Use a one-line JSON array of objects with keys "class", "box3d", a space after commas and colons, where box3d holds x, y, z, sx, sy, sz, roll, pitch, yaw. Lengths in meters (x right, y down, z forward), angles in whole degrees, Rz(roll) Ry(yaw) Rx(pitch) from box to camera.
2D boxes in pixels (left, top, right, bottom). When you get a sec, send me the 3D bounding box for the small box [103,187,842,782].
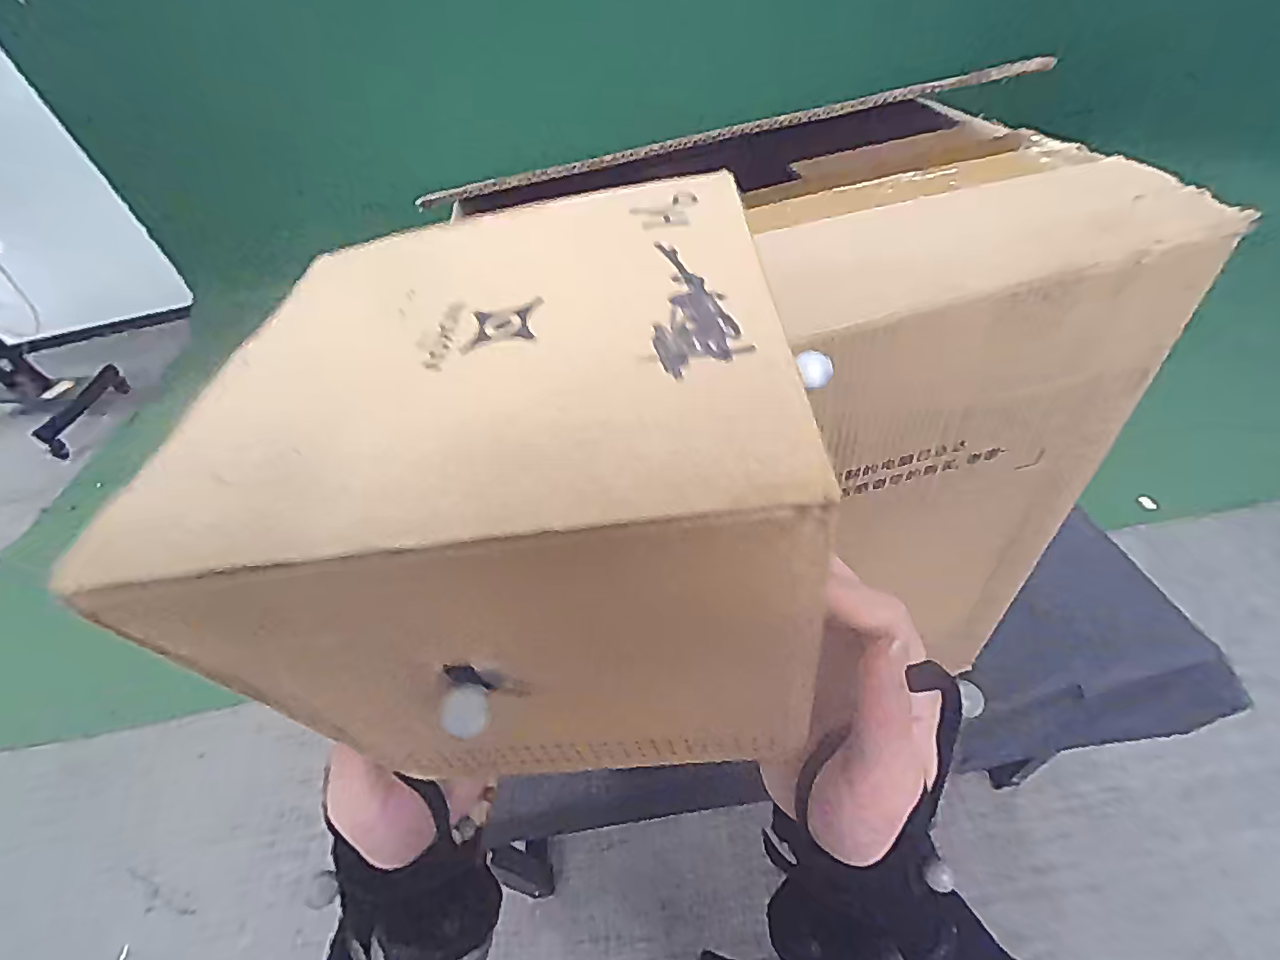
[{"class": "small box", "box3d": [-0.028, 0.014, 0.225, 0.179, 0.176, 0.168, -9, 49, 8]}]
